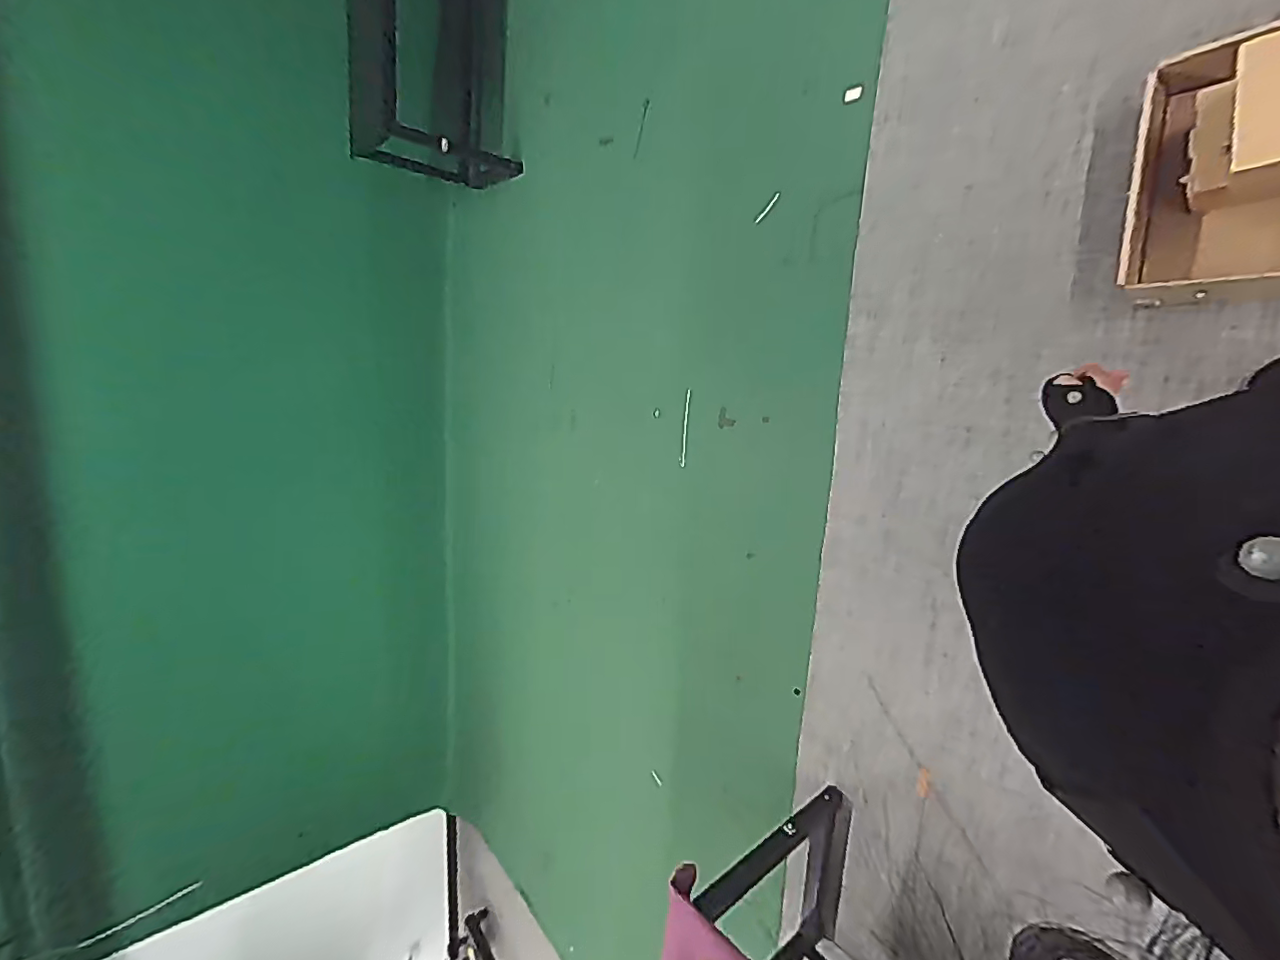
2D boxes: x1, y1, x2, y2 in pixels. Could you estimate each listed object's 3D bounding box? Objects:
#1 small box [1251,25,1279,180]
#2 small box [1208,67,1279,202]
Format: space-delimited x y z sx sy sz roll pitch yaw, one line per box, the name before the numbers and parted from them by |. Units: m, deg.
small box | 0.983 -0.543 0.753 0.168 0.176 0.179 4 99 48
small box | 1.076 -0.582 0.890 0.179 0.176 0.168 7 101 48
